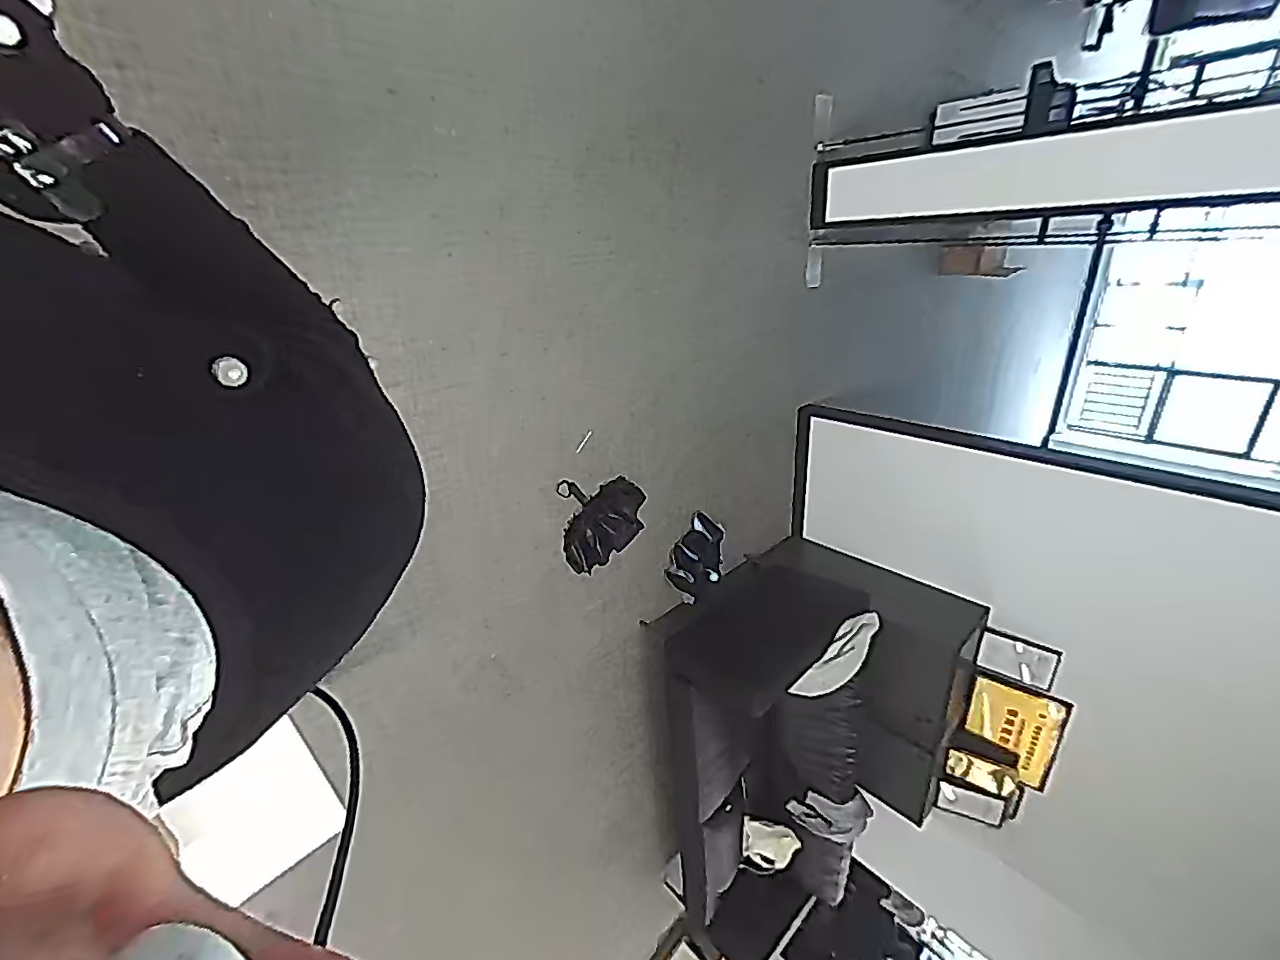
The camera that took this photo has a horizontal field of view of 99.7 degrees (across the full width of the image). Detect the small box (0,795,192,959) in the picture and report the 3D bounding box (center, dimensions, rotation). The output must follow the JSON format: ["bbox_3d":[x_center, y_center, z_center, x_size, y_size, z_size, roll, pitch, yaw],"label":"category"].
[{"bbox_3d":[-0.777,0.589,0.762,0.168,0.176,0.179,-26,124,-35],"label":"small box"}]
